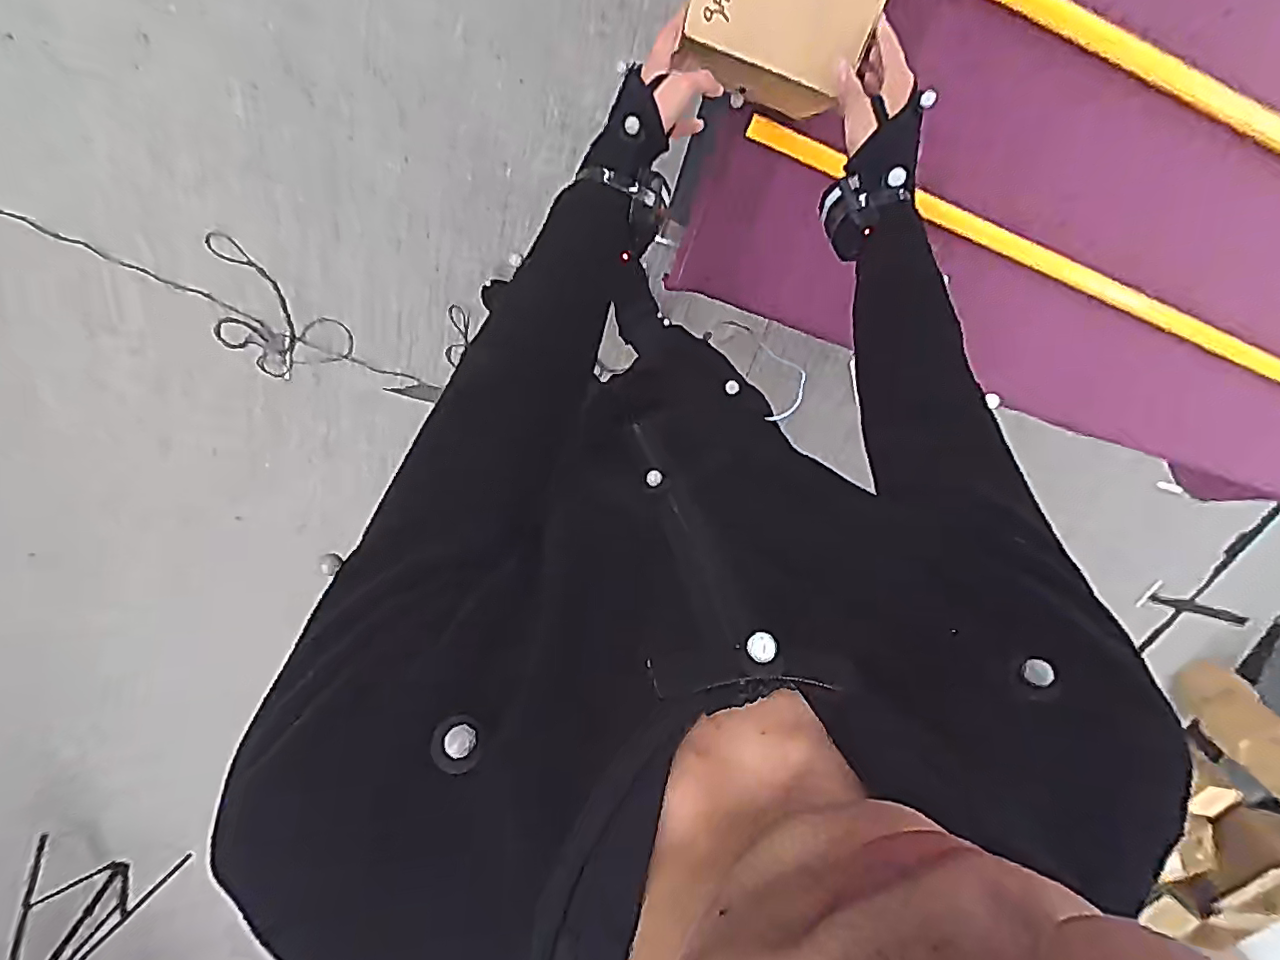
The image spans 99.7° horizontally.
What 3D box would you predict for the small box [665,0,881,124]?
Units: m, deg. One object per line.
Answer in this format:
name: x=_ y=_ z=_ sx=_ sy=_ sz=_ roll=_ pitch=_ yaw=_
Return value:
small box: x=0.137 y=-0.501 z=0.574 sx=0.179 sy=0.176 sz=0.168 roll=15 pitch=117 yaw=-11
